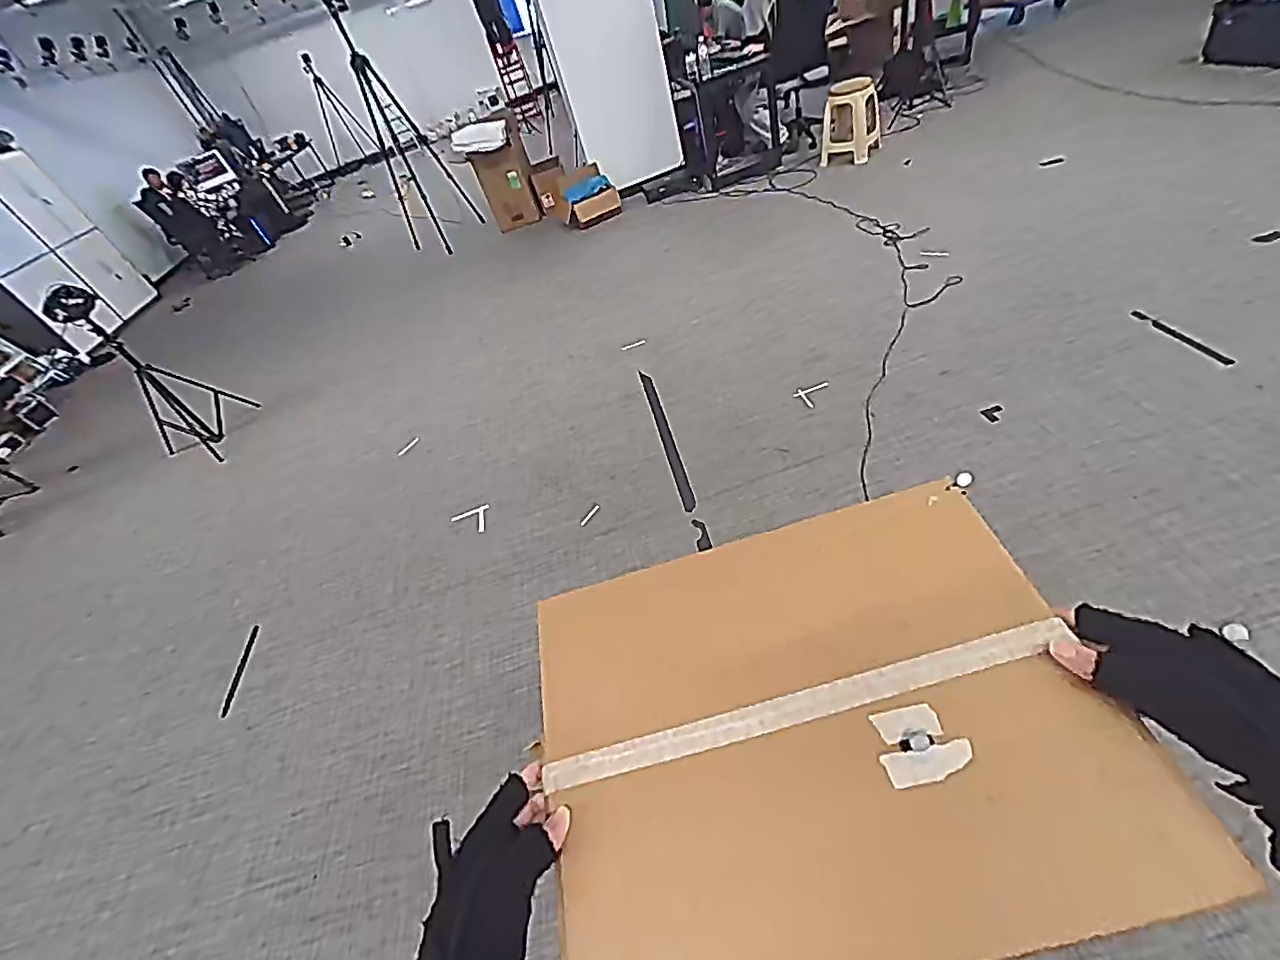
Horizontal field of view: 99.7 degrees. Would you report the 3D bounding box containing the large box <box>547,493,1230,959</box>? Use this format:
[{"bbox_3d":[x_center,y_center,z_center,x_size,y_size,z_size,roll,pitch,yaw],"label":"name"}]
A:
[{"bbox_3d":[0.161,0.275,0.529,0.408,0.320,0.320,-18,49,3],"label":"large box"}]
